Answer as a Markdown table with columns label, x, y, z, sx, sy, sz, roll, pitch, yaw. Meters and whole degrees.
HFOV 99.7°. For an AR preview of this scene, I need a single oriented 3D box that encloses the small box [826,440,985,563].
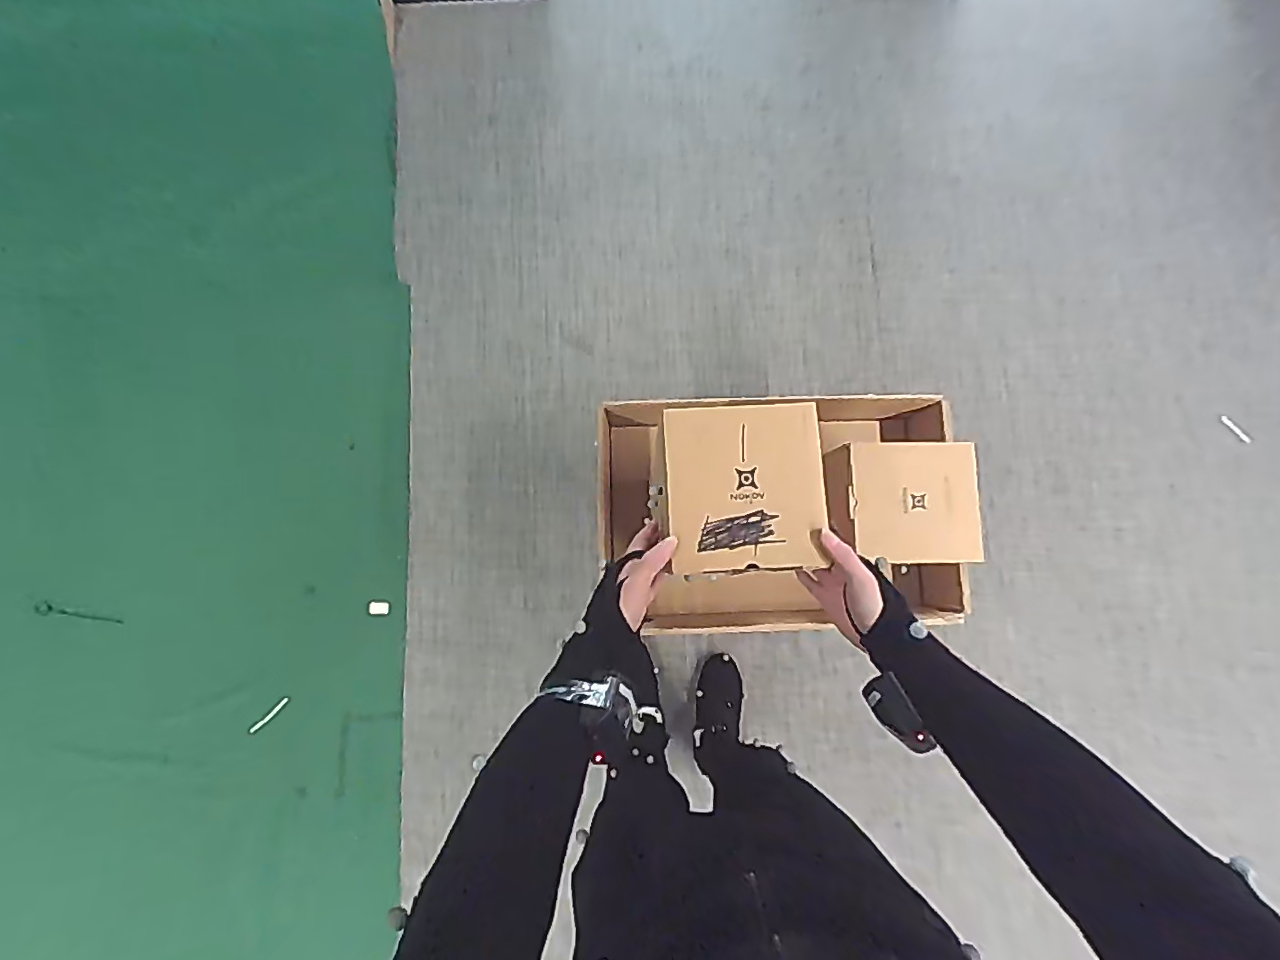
| label | x | y | z | sx | sy | sz | roll | pitch | yaw |
| --- | --- | --- | --- | --- | --- | --- | --- | --- | --- |
| small box | 0.370 | 0.038 | 0.803 | 0.179 | 0.176 | 0.168 | 0 | 83 | -2 |

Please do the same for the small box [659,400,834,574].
| label | x | y | z | sx | sy | sz | roll | pitch | yaw |
| --- | --- | --- | --- | --- | --- | --- | --- | --- | --- |
| small box | 0.111 | 0.015 | 0.633 | 0.168 | 0.176 | 0.179 | -2 | 82 | -2 |
